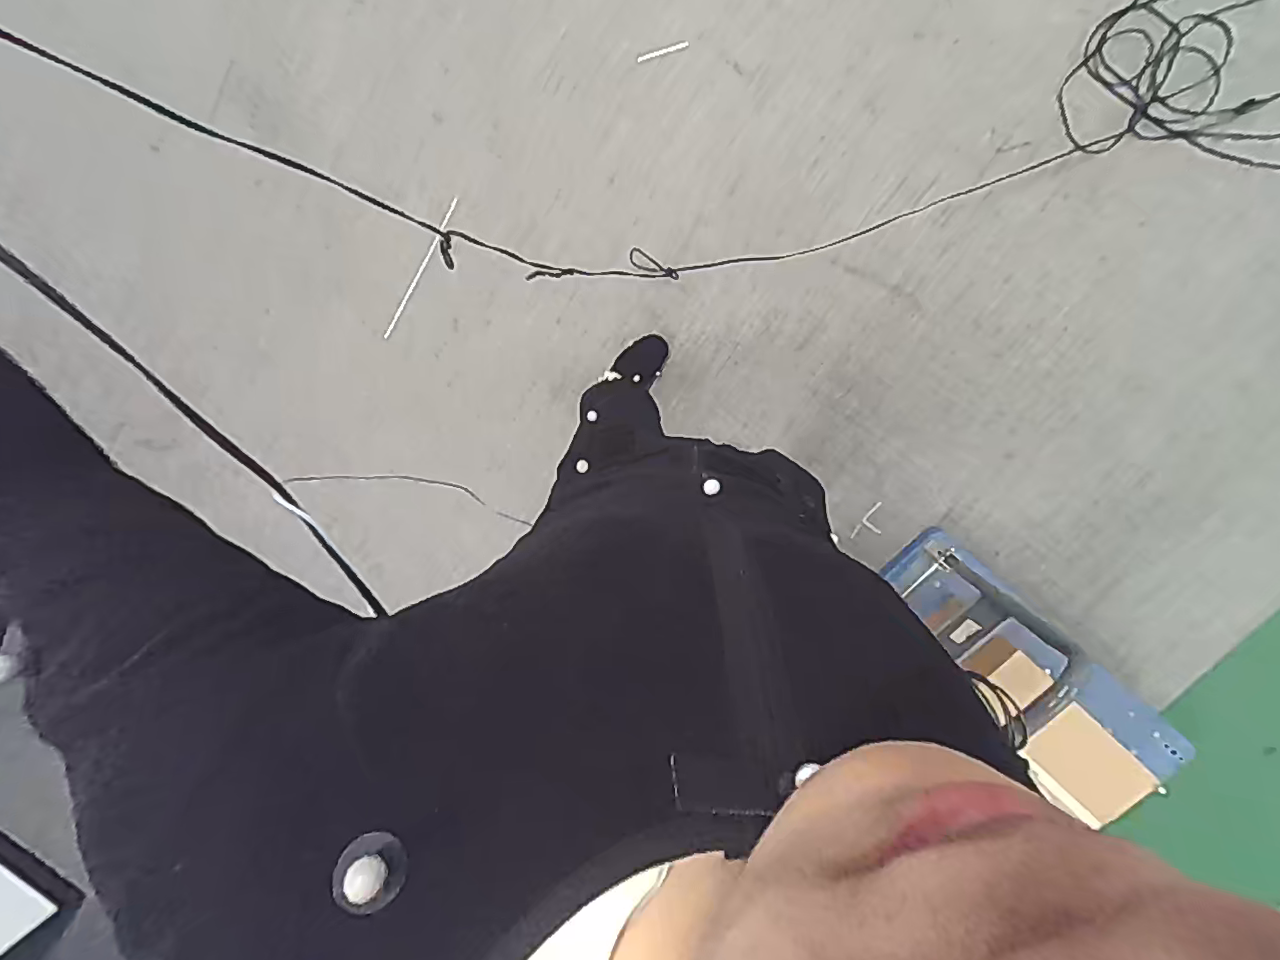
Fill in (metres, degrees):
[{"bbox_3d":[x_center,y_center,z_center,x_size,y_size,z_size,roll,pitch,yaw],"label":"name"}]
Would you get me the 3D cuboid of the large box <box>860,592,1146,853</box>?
[{"bbox_3d":[0.813,0.546,1.282,0.408,0.320,0.320,43,103,-1],"label":"large box"}]
